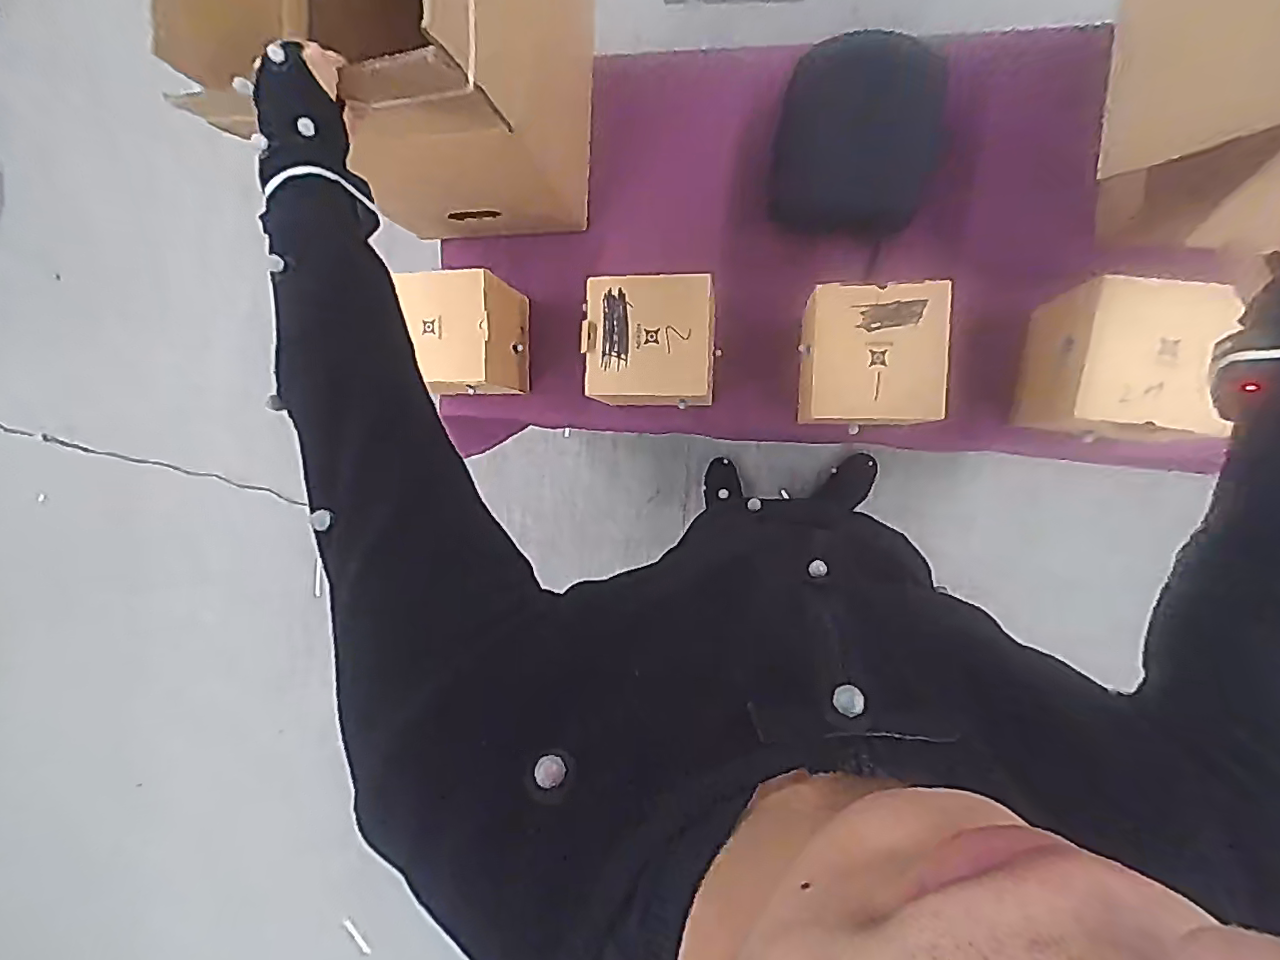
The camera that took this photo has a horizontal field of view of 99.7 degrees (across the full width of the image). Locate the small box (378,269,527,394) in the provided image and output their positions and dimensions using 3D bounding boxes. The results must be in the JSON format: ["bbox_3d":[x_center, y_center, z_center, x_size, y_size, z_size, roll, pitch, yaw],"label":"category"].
[{"bbox_3d":[-0.298,-0.231,0.882,0.179,0.176,0.168,0,94,9],"label":"small box"}]

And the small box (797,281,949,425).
[{"bbox_3d":[0.318,-0.171,0.772,0.168,0.176,0.179,2,95,11],"label":"small box"}]

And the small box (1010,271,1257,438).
[{"bbox_3d":[0.627,-0.155,0.715,0.168,0.176,0.179,10,95,11],"label":"small box"}]
